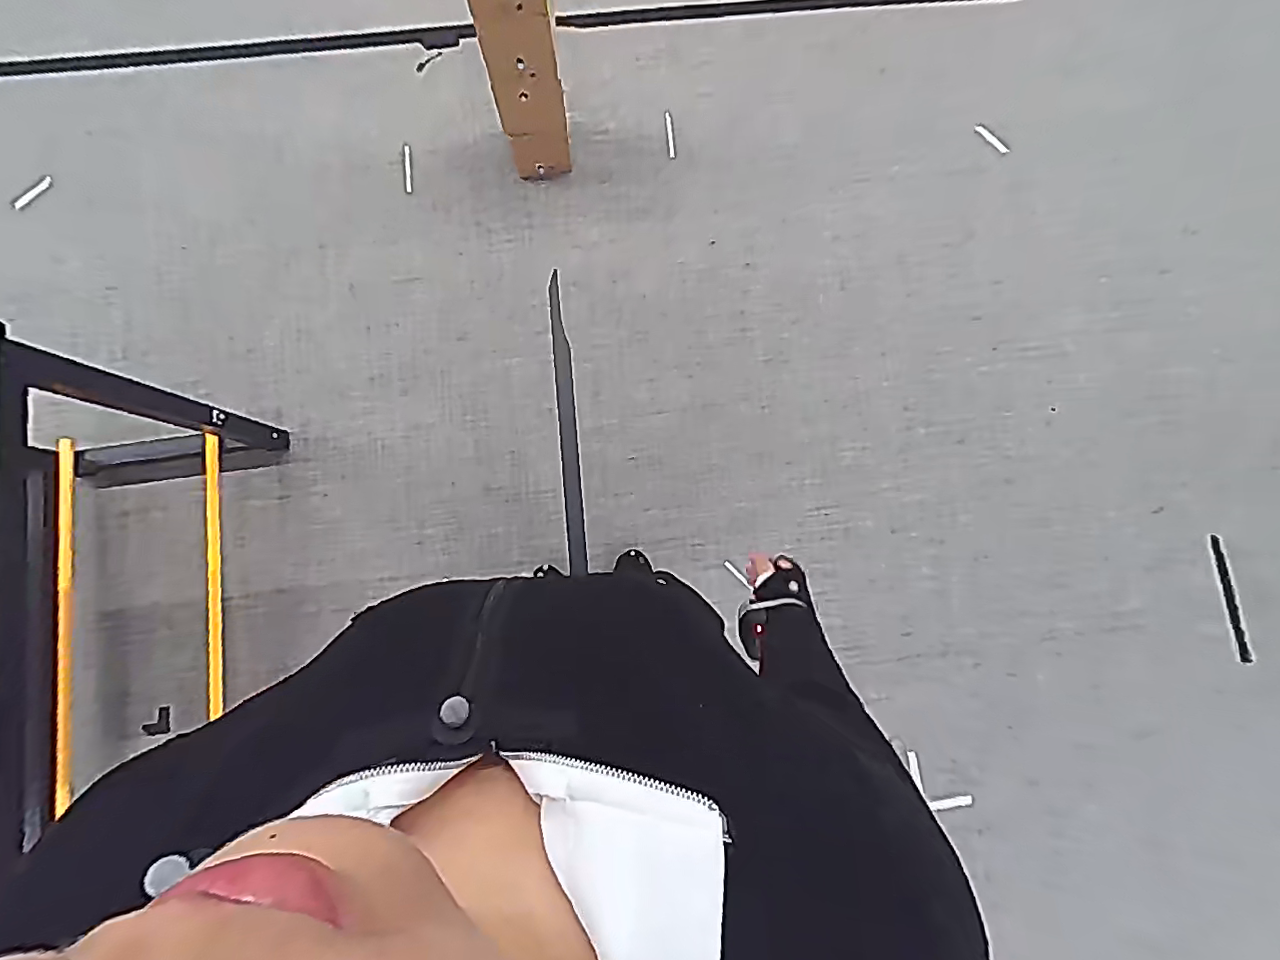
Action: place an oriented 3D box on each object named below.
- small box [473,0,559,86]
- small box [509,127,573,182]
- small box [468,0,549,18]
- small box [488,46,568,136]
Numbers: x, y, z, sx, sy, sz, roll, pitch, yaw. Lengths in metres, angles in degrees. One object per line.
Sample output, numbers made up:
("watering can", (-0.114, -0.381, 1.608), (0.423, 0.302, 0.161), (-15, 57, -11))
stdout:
("small box", (-0.280, -1.050, 1.239), (0.168, 0.176, 0.179), (-4, 83, -1))
("small box", (-0.293, -1.006, 1.565), (0.168, 0.176, 0.179), (-11, 85, -2))
("small box", (-0.279, -1.068, 1.076), (0.168, 0.176, 0.179), (-6, 84, -2))
("small box", (-0.288, -1.027, 1.402), (0.179, 0.176, 0.168), (-7, 83, -3))
